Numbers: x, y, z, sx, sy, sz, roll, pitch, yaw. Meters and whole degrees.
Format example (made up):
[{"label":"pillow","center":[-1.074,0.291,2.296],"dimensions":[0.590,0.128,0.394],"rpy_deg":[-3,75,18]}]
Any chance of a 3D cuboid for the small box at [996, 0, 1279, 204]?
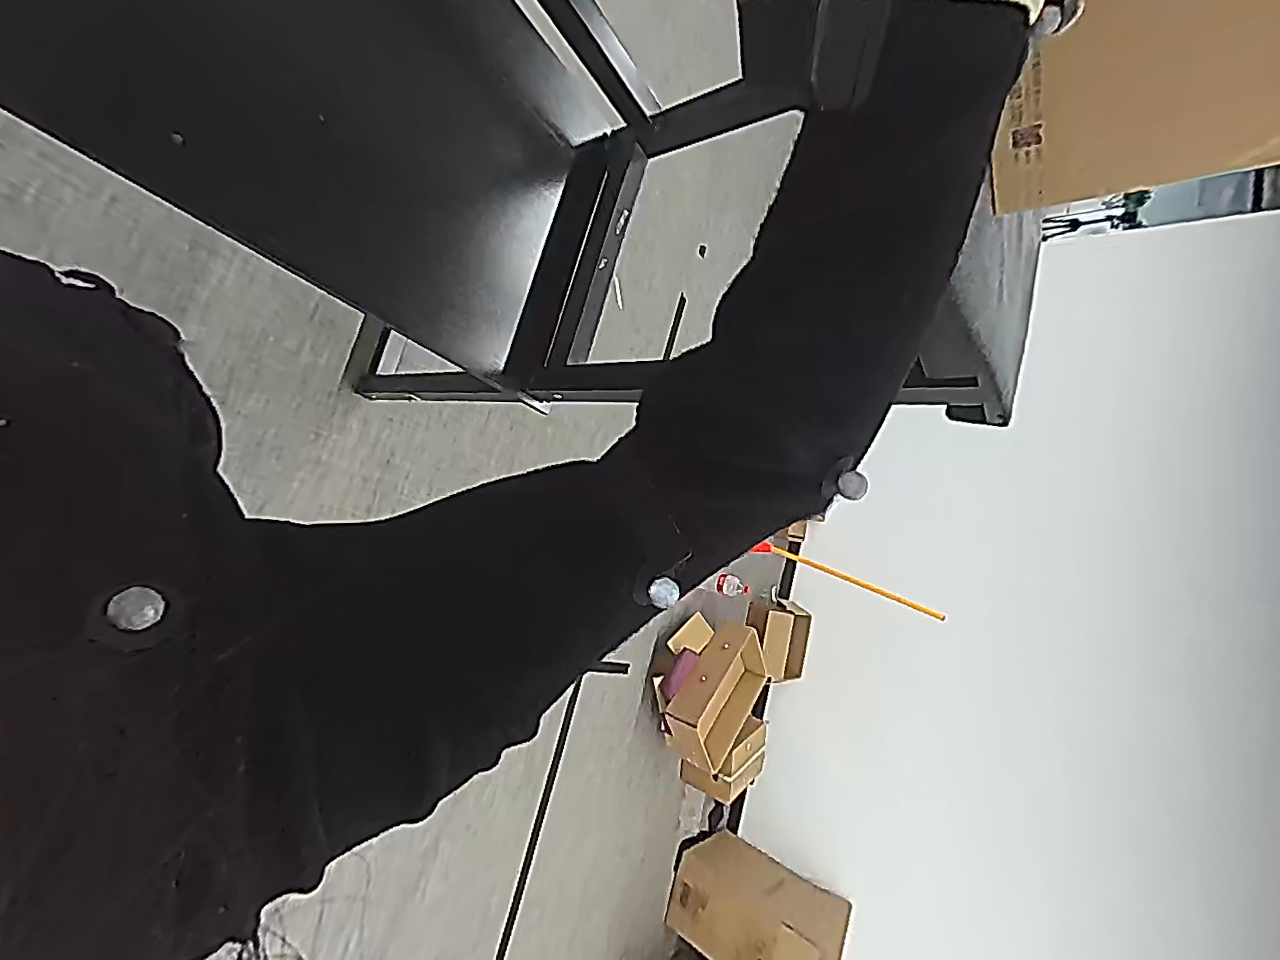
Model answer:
[{"label":"small box","center":[0.302,-0.291,0.298],"dimensions":[0.168,0.176,0.179],"rpy_deg":[35,67,-49]}]
